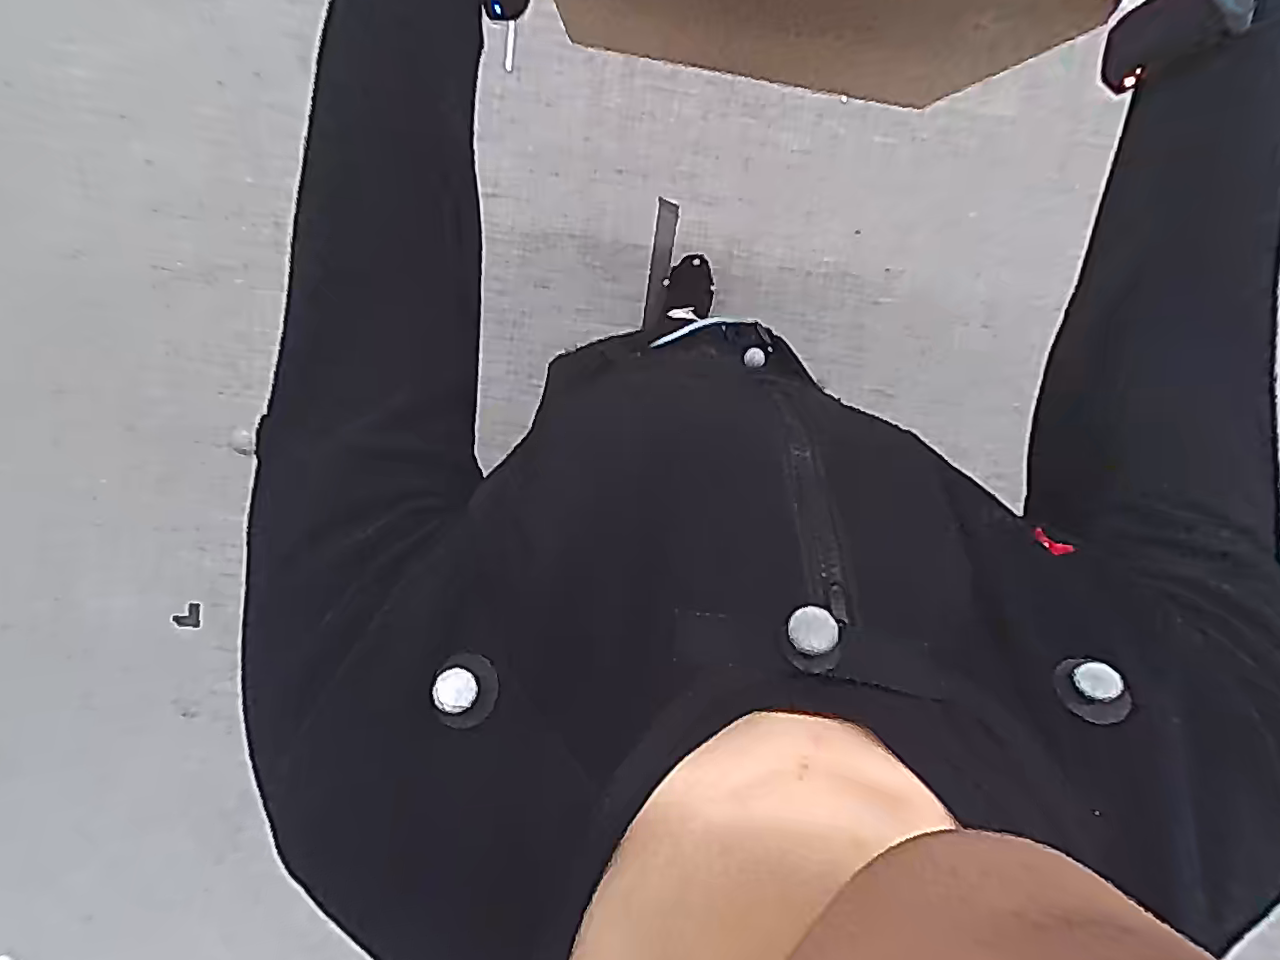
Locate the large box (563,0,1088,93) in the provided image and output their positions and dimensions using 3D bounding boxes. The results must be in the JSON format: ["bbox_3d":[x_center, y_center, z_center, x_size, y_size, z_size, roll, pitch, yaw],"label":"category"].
[{"bbox_3d":[0.140,-0.539,0.411,0.408,0.320,0.320,7,115,-3],"label":"large box"}]
